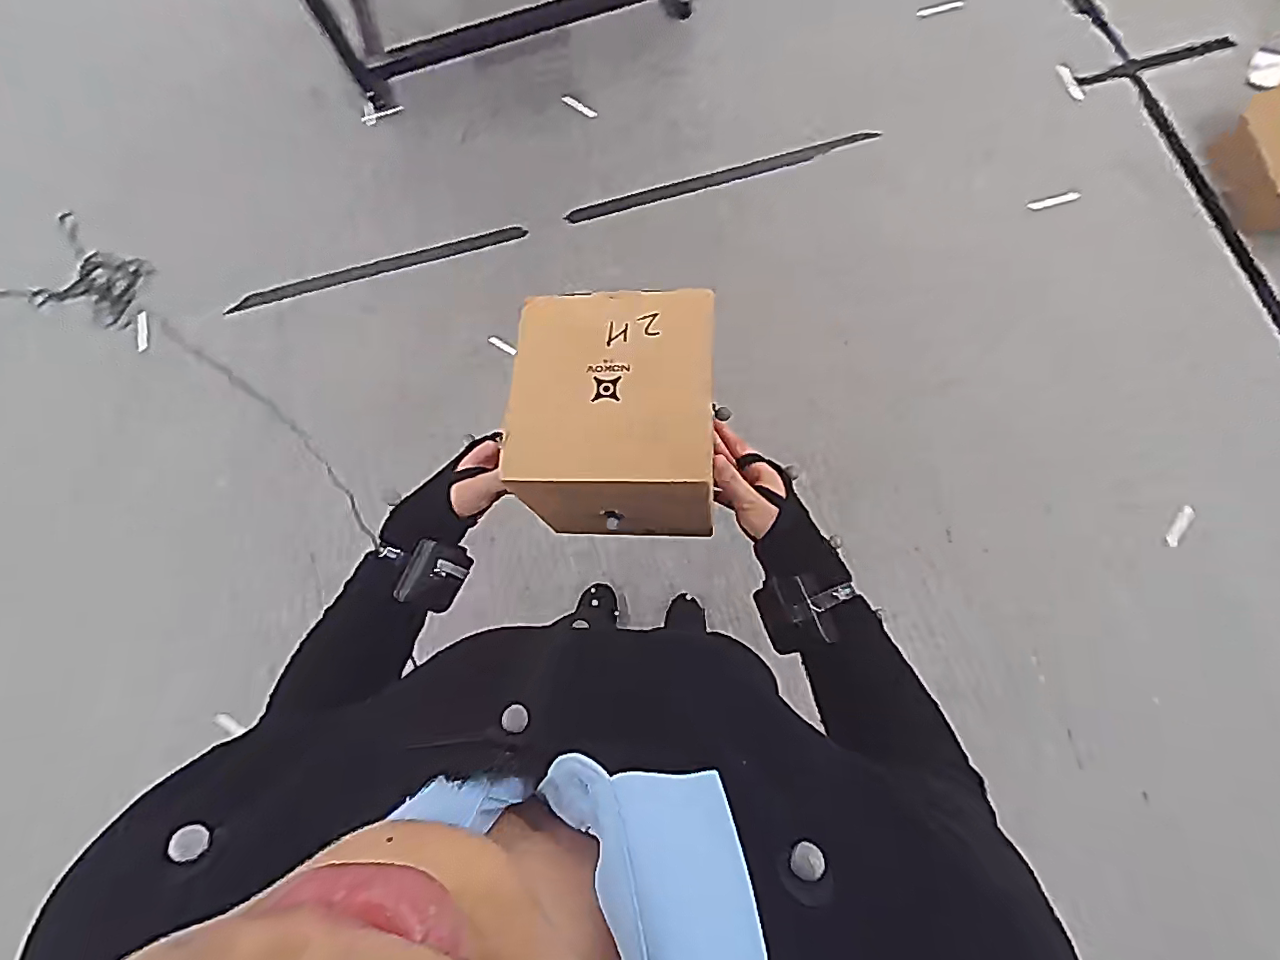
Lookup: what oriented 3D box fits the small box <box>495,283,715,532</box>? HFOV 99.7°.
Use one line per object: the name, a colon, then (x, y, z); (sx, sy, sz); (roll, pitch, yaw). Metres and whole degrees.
small box: (-0.015, -0.053, 0.501); (0.168, 0.176, 0.179); (0, 70, 8)
